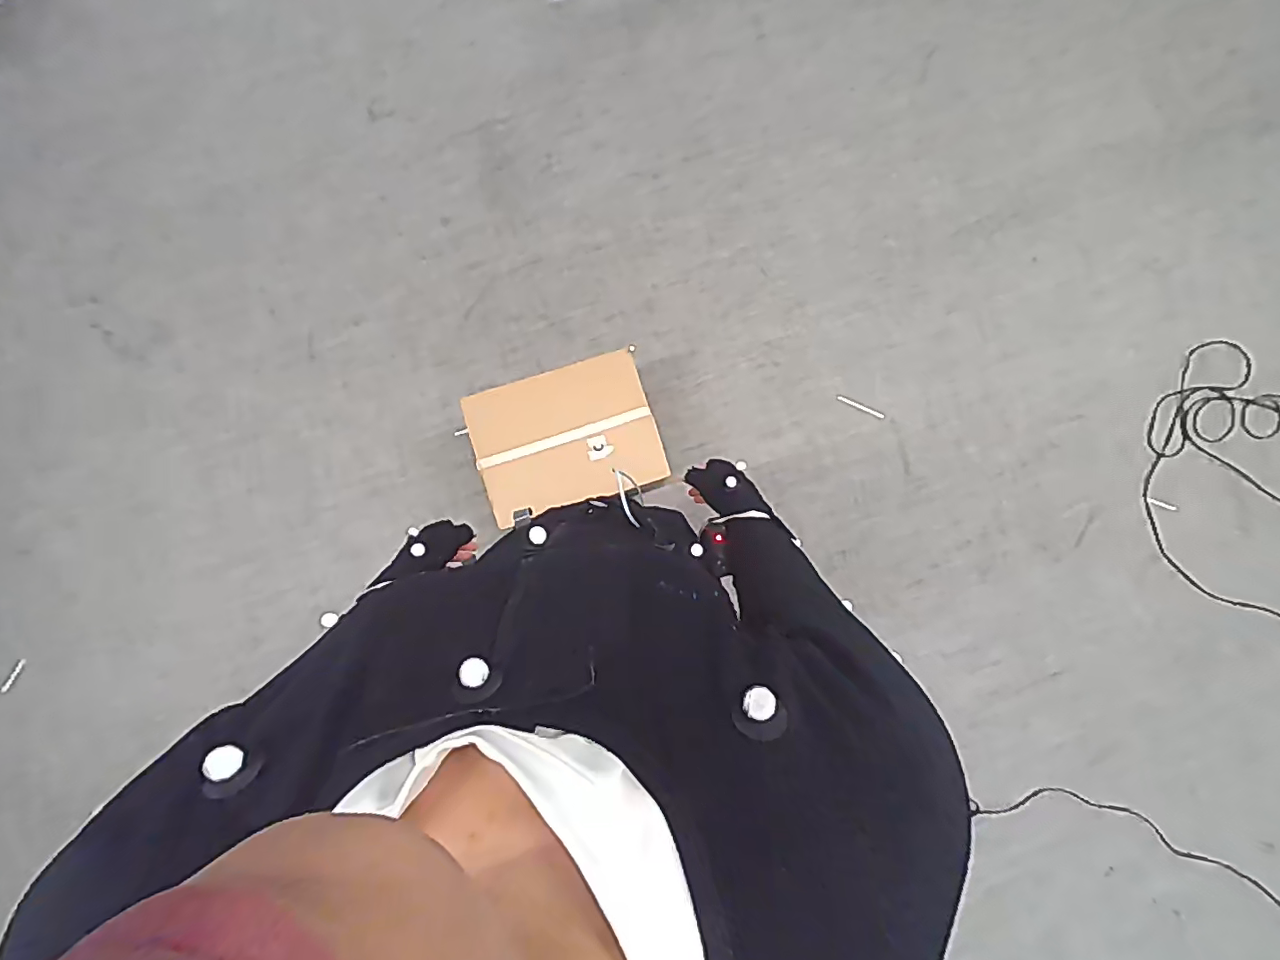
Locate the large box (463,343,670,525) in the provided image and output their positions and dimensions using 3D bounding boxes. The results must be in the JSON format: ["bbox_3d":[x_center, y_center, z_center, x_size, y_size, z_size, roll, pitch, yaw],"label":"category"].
[{"bbox_3d":[-0.168,-0.095,1.358,0.408,0.320,0.320,-18,88,-2],"label":"large box"}]
